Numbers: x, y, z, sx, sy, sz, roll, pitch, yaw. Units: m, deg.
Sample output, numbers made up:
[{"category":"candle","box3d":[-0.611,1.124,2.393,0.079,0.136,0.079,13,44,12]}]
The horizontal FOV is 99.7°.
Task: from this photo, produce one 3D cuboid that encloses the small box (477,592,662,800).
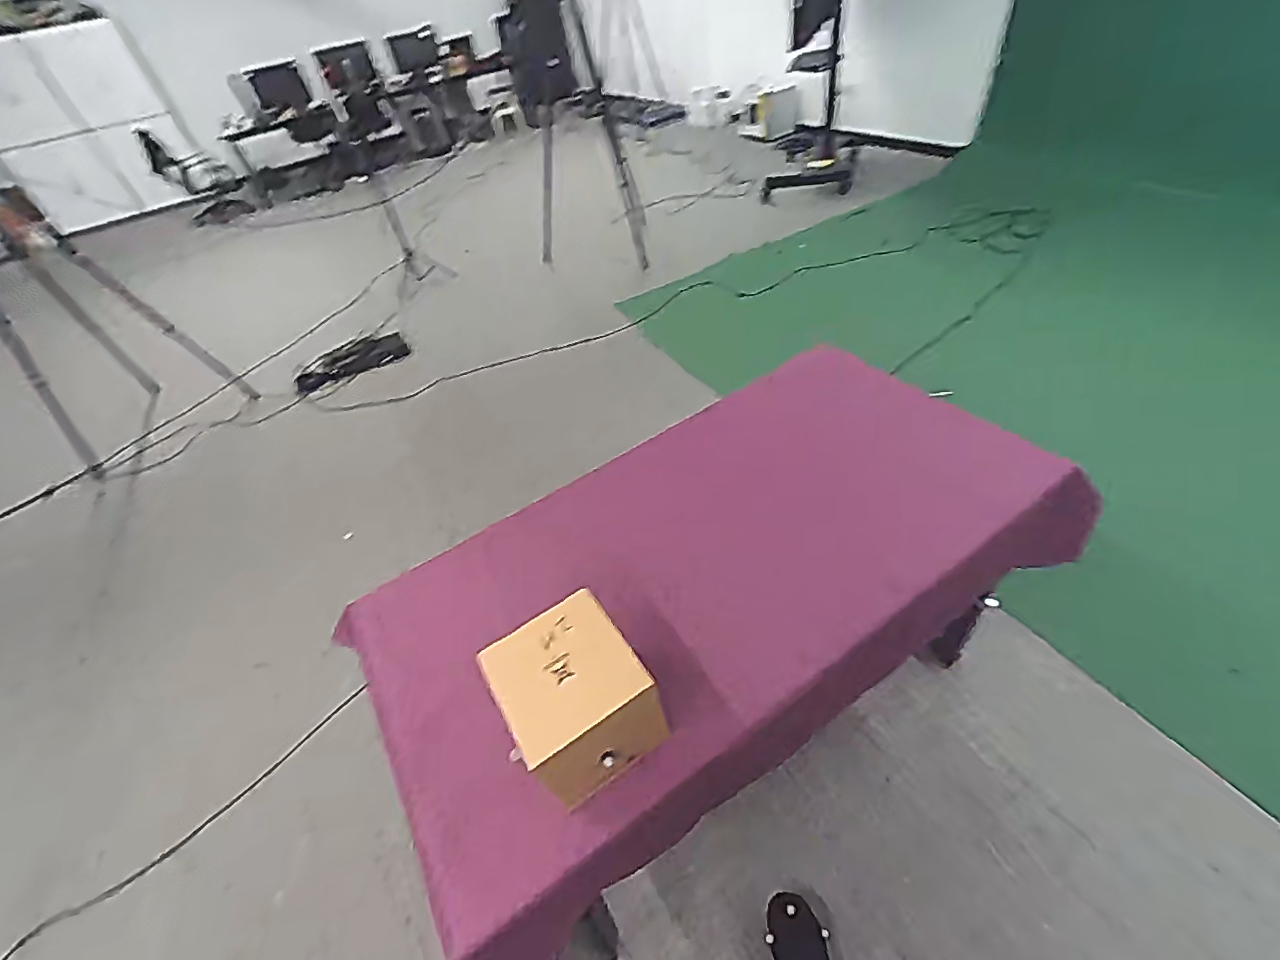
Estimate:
[{"category":"small box","box3d":[-0.087,0.293,0.722,0.168,0.176,0.179,-29,46,-18]}]
